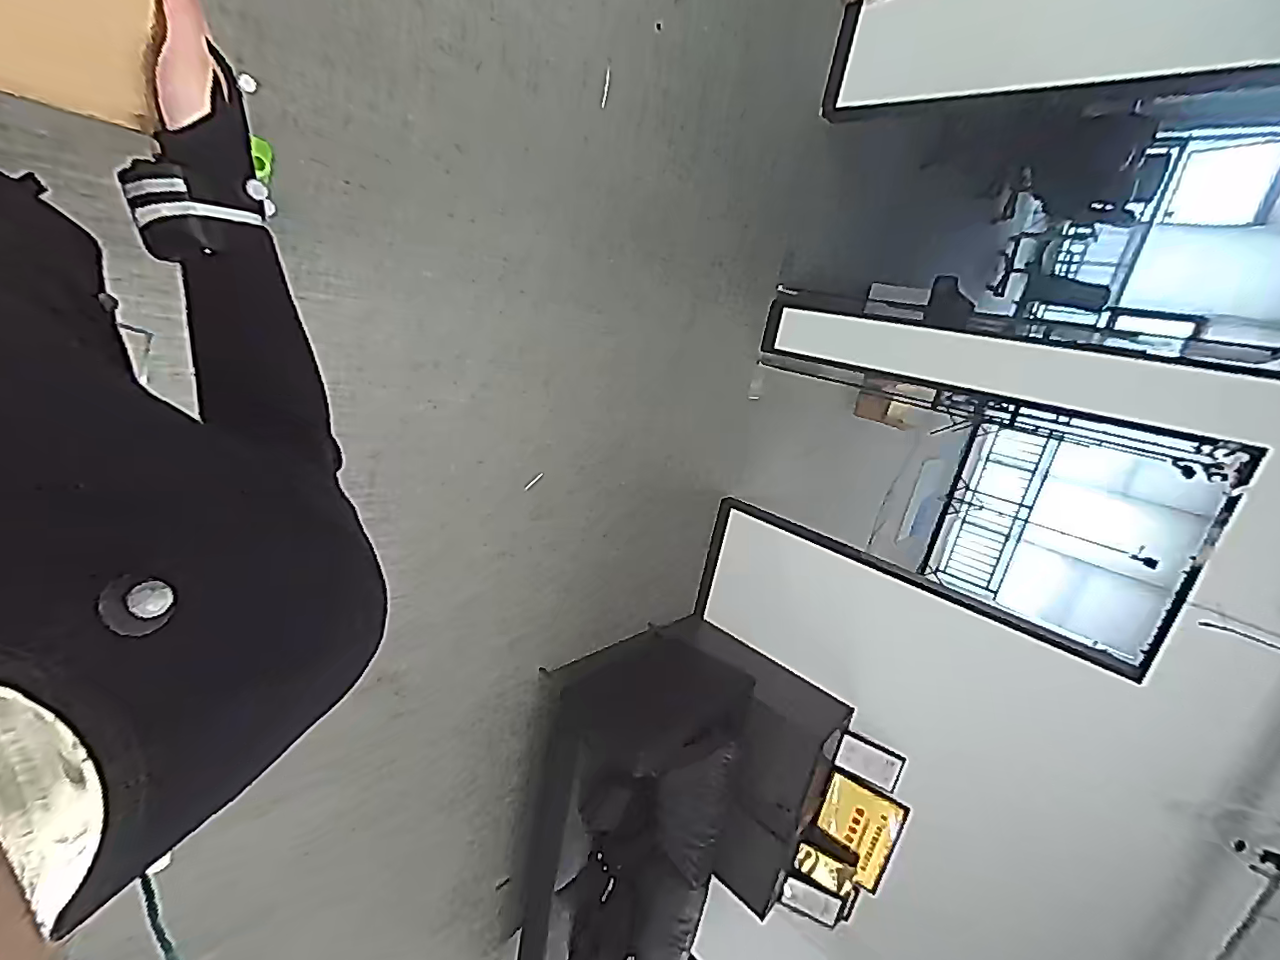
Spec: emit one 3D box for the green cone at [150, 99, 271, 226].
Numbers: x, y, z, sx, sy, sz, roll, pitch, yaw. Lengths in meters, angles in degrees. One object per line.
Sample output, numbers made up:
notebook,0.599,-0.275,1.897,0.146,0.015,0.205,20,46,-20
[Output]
green cone,-0.817,-0.638,1.088,0.200,0.368,0.202,1,107,-51
